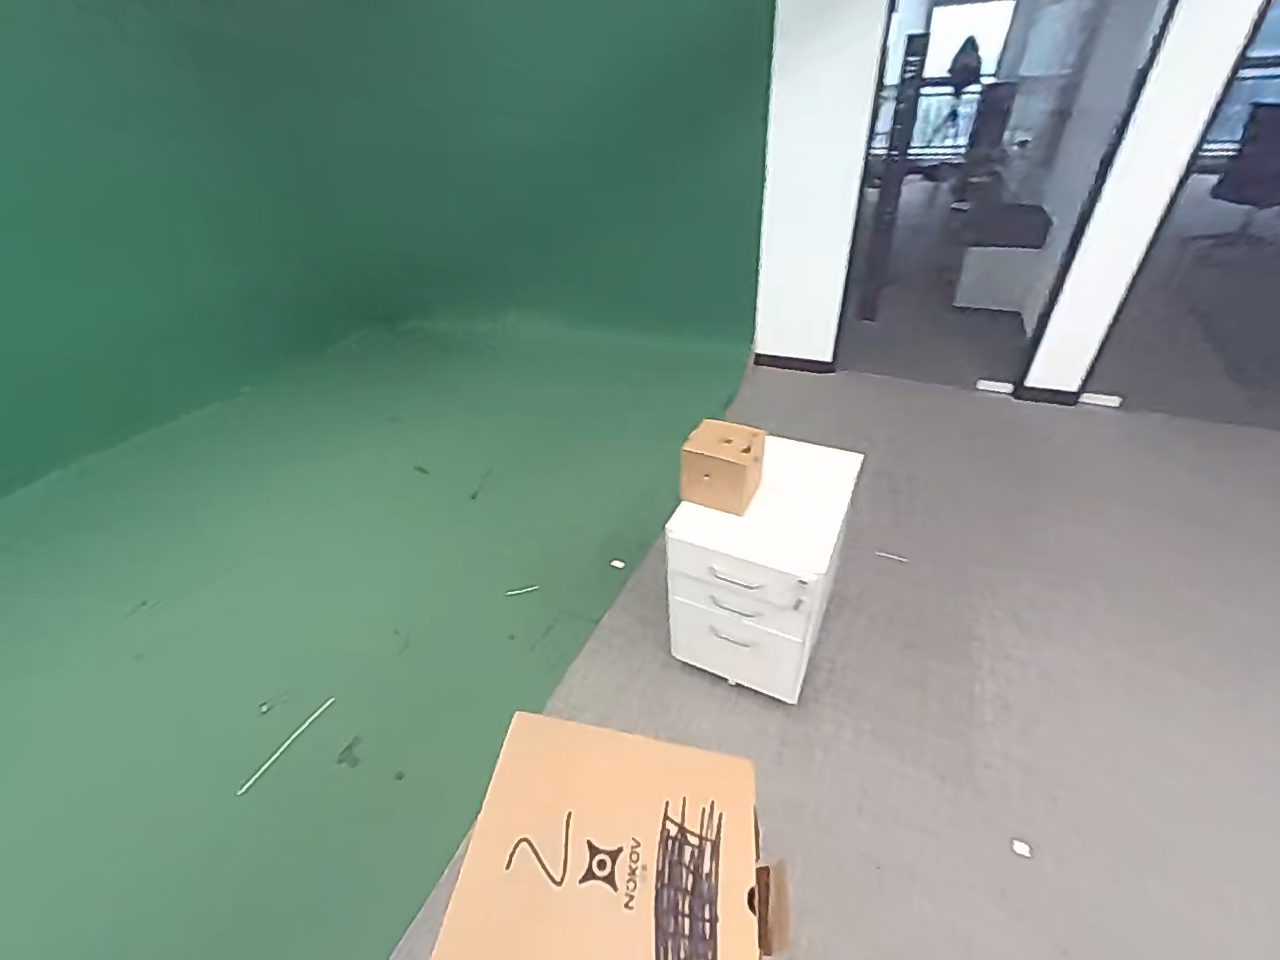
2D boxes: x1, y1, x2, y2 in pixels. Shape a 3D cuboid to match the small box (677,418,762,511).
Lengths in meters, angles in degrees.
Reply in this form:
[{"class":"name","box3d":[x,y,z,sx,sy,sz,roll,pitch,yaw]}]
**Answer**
[{"class":"small box","box3d":[0.208,-0.040,1.423,0.179,0.176,0.168,15,42,22]}]
